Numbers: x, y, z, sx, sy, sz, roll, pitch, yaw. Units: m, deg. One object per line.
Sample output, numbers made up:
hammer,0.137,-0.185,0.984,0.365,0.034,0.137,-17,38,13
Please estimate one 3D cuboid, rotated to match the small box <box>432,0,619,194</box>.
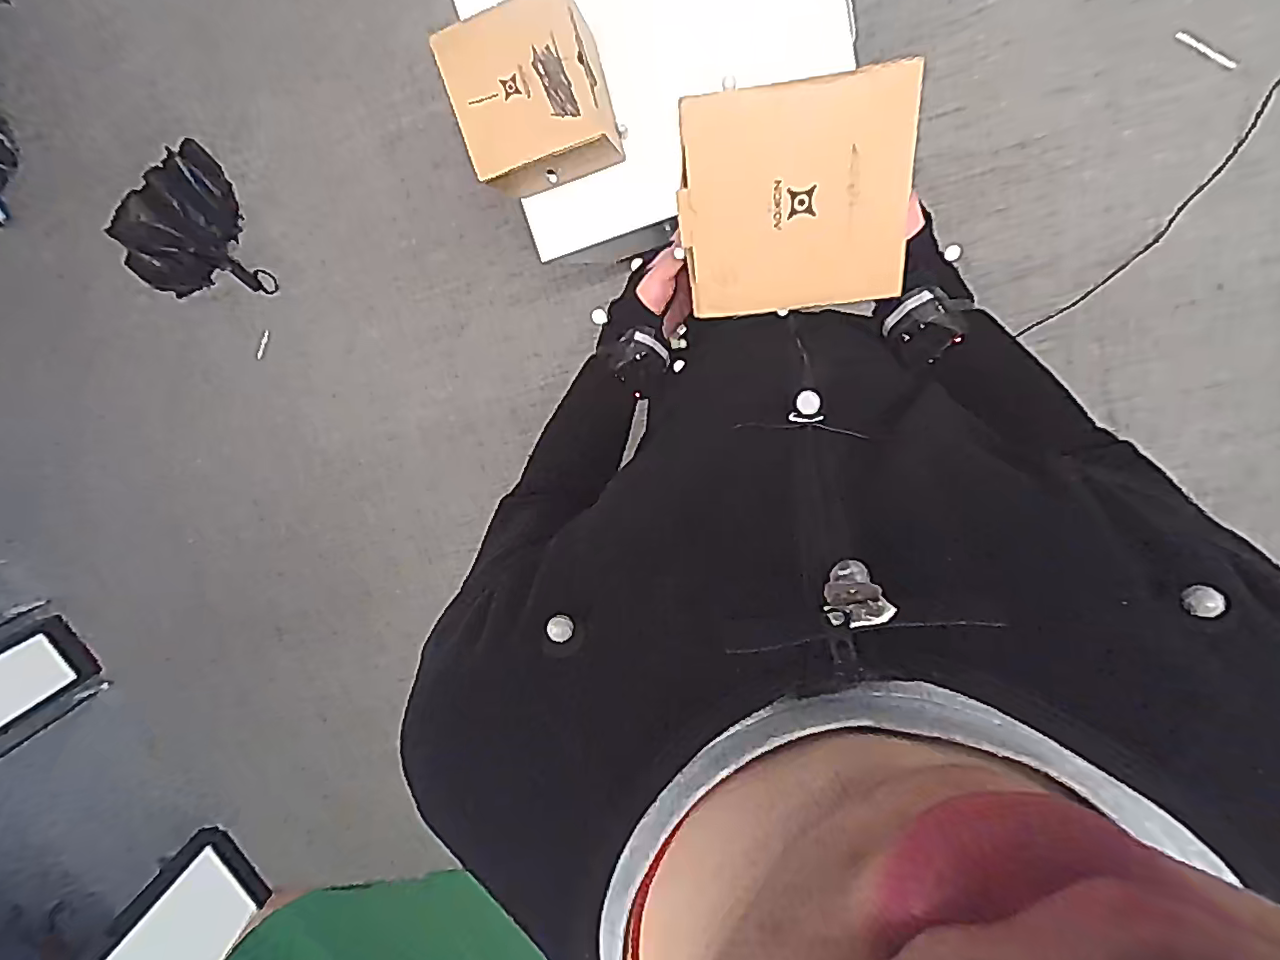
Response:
small box,-0.135,-0.504,0.722,0.179,0.176,0.168,-13,108,14
